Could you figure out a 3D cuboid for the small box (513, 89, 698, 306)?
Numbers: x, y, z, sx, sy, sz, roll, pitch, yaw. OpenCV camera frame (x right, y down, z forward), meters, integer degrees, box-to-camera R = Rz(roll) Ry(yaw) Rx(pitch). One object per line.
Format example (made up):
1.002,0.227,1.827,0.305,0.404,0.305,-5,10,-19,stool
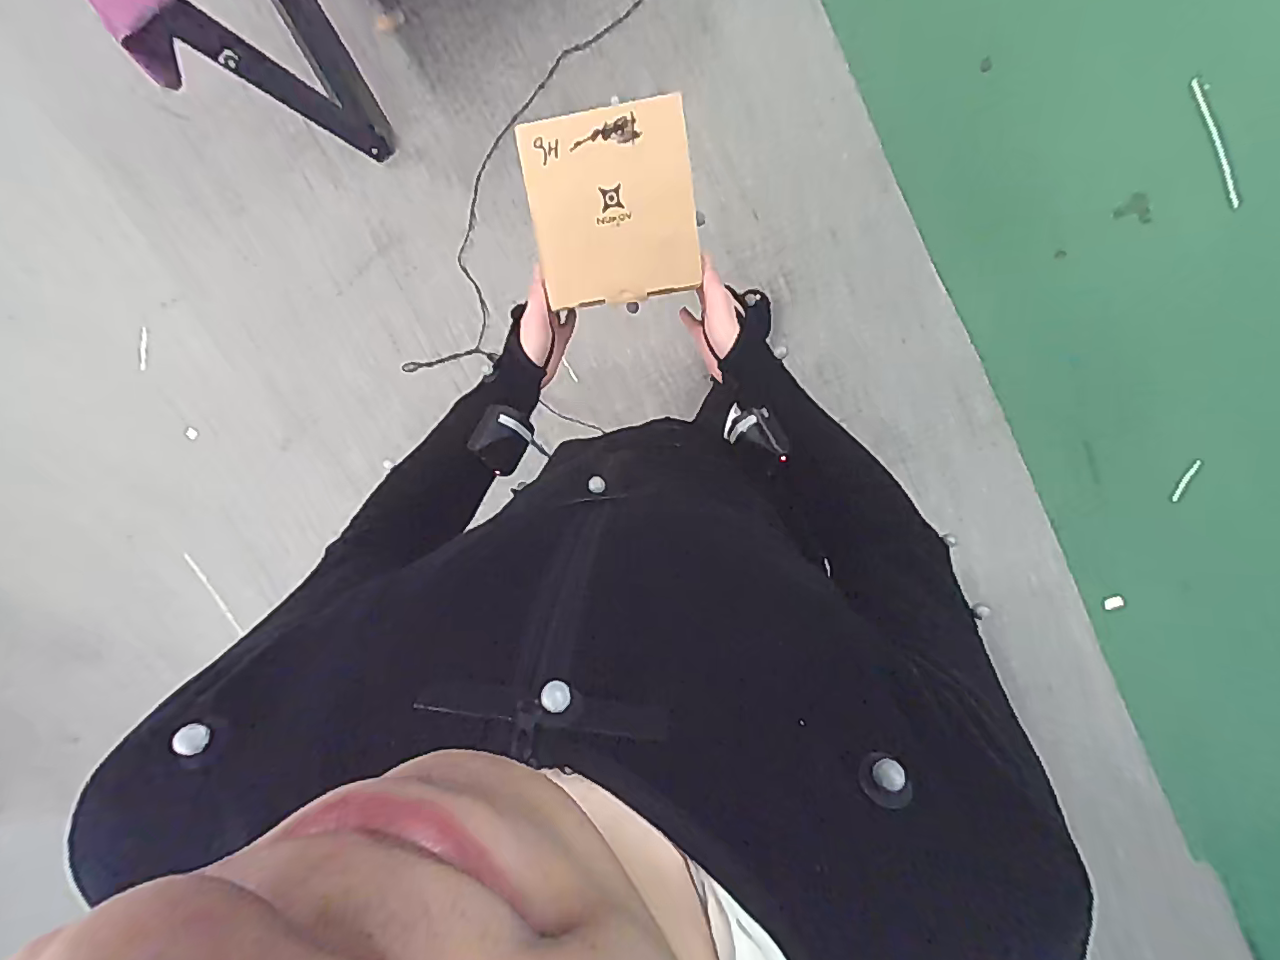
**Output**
-0.026,-0.303,0.614,0.168,0.176,0.179,-8,109,5,small box
